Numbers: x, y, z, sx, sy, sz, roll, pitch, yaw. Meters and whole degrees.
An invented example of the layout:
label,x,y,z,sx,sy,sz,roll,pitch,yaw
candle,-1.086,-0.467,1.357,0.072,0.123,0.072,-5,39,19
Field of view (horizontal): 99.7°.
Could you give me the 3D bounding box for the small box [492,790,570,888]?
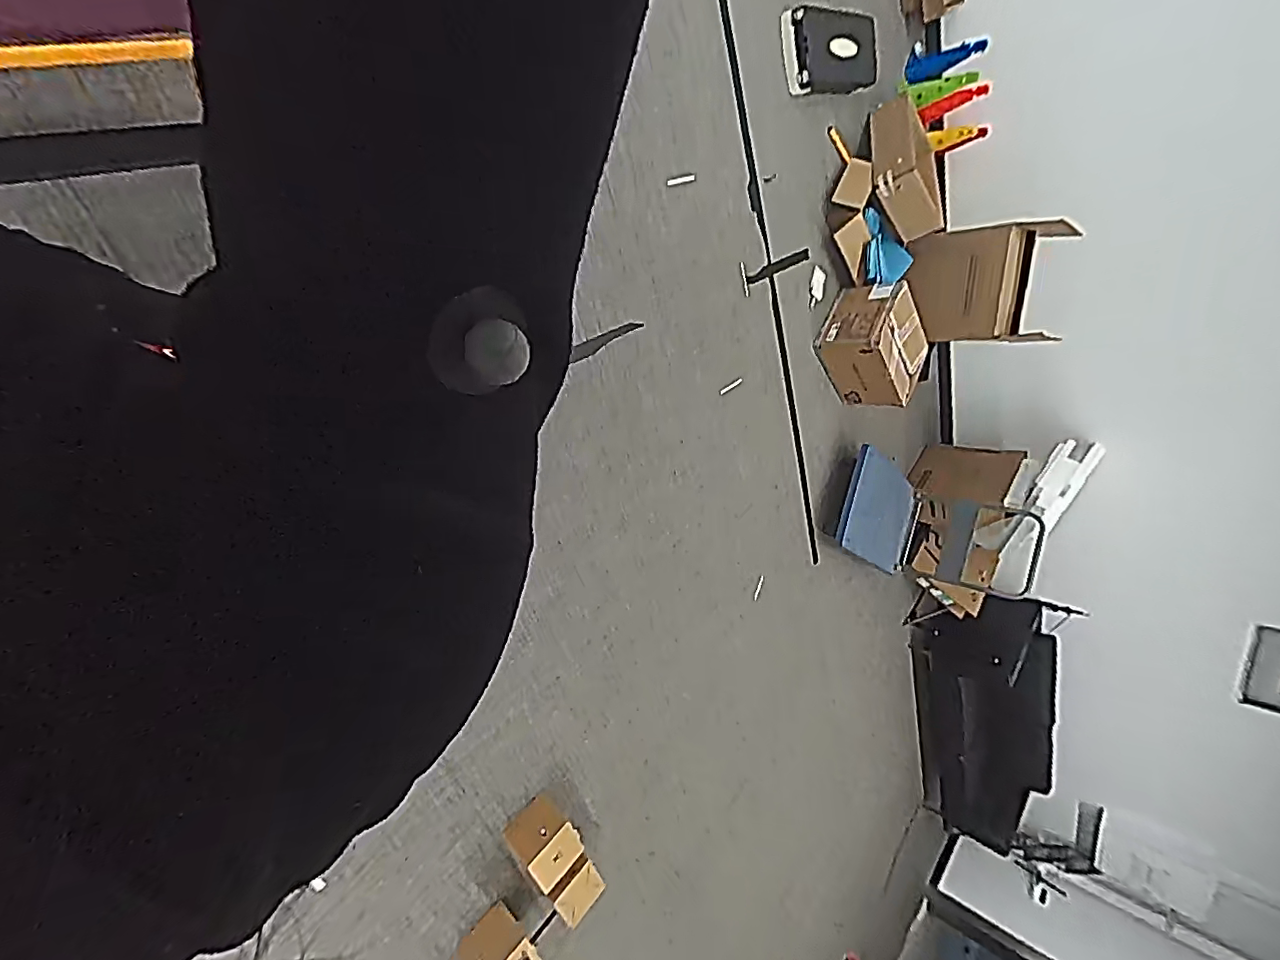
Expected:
label,x,y,z,sx,sy,sz,roll,pitch,yaw
small box,-0.368,1.186,1.799,0.179,0.176,0.168,-37,122,-35
